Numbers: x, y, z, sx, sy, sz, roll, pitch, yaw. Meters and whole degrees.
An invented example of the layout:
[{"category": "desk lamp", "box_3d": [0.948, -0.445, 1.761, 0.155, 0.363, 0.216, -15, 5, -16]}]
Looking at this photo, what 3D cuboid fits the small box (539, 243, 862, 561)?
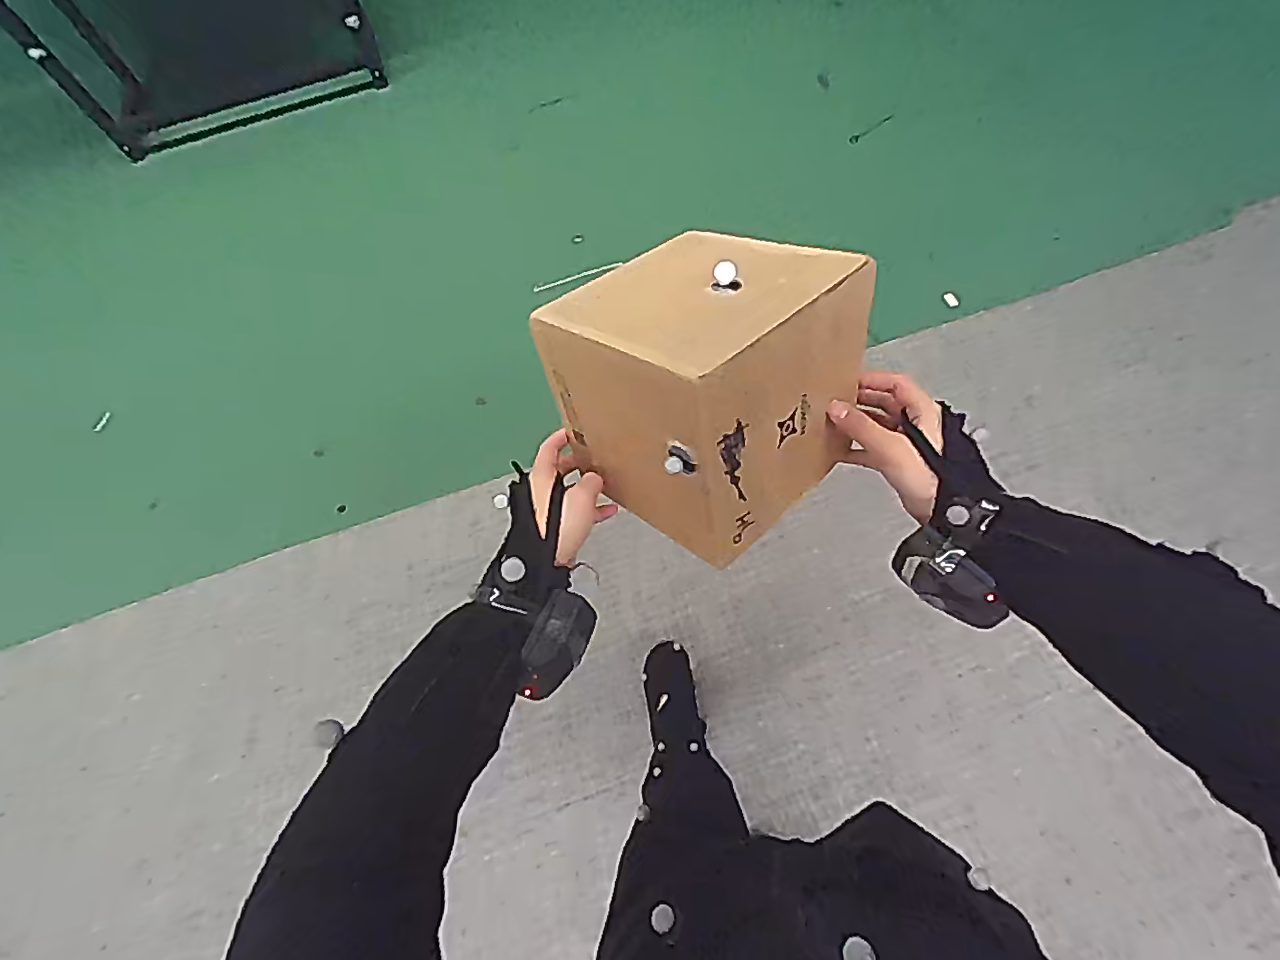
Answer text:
[{"category": "small box", "box_3d": [0.050, -0.076, 0.437, 0.179, 0.168, 0.176, -38, 47, -27]}]
